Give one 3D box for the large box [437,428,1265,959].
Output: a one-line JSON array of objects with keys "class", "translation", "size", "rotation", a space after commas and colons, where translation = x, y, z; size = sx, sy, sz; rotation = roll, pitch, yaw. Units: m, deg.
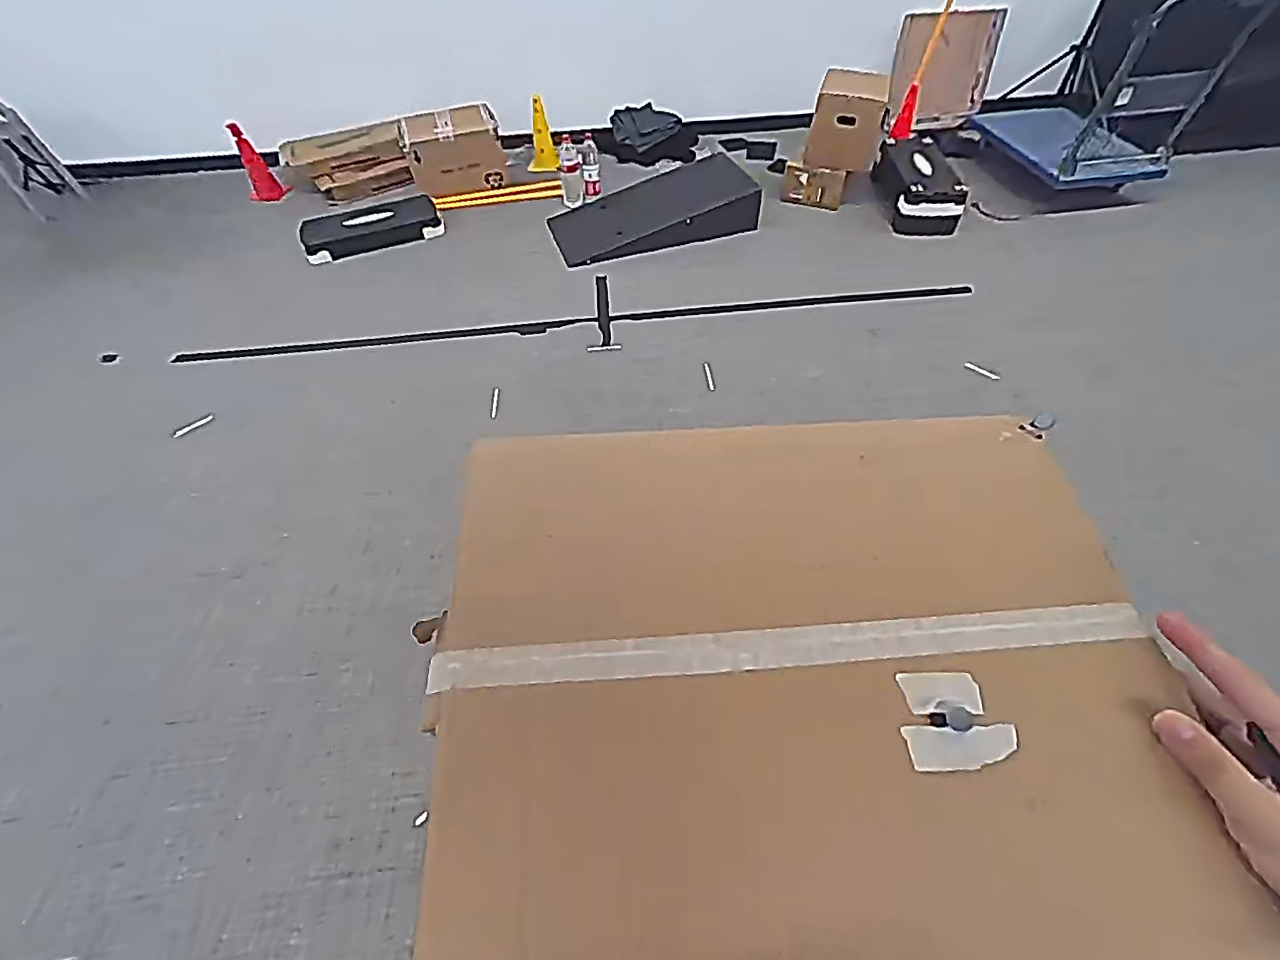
[{"class": "large box", "translation": [0.086, 0.179, 0.448], "size": [0.408, 0.320, 0.320], "rotation": [-3, 59, -4]}]
